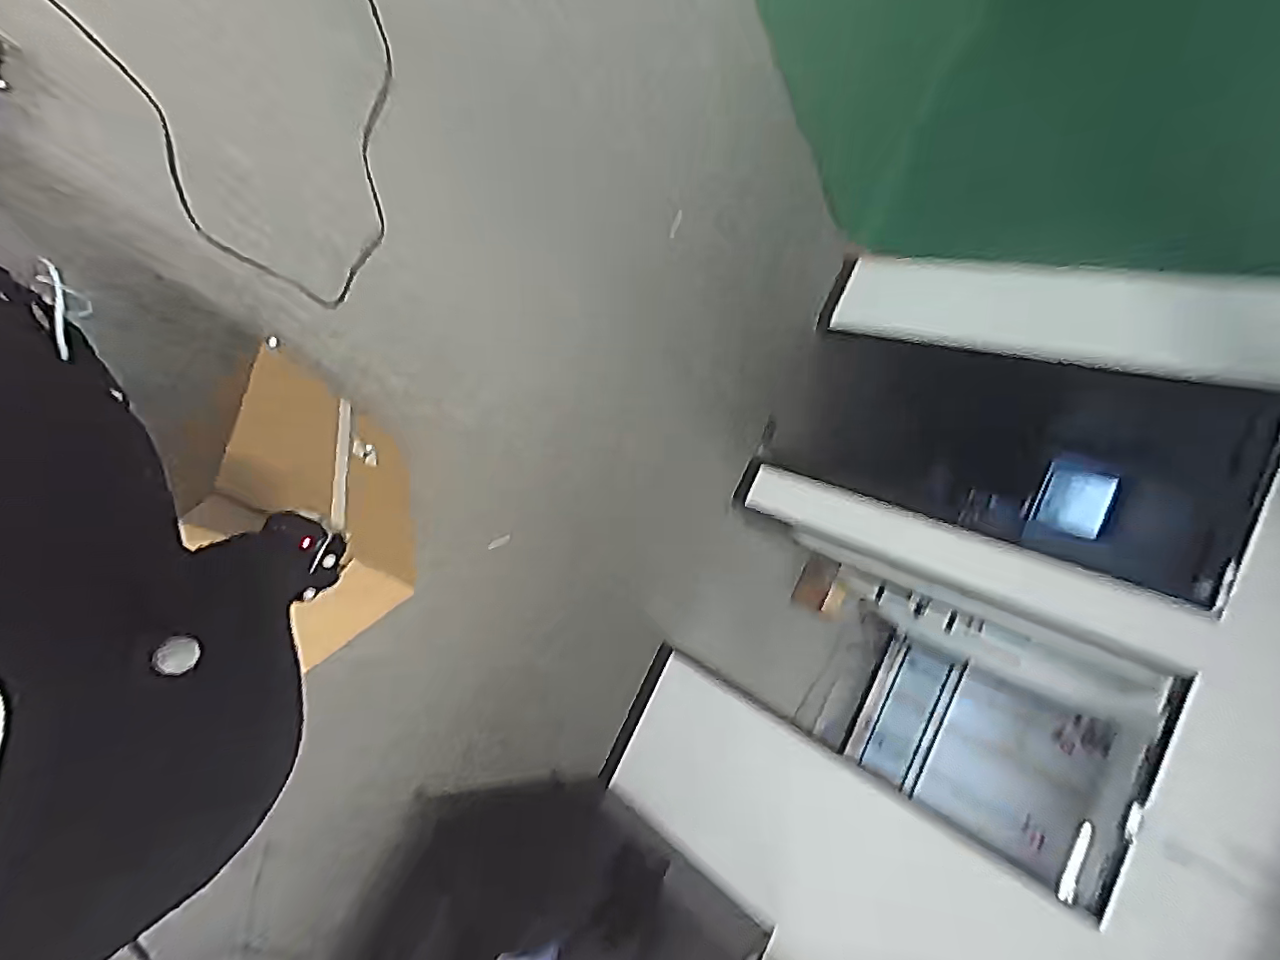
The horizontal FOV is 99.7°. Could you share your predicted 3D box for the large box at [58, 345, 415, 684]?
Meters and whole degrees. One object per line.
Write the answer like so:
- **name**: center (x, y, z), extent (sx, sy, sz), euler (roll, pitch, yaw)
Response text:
- **large box**: center (-0.621, 0.057, 0.905), extent (0.320, 0.408, 0.320), euler (-36, 134, 5)
